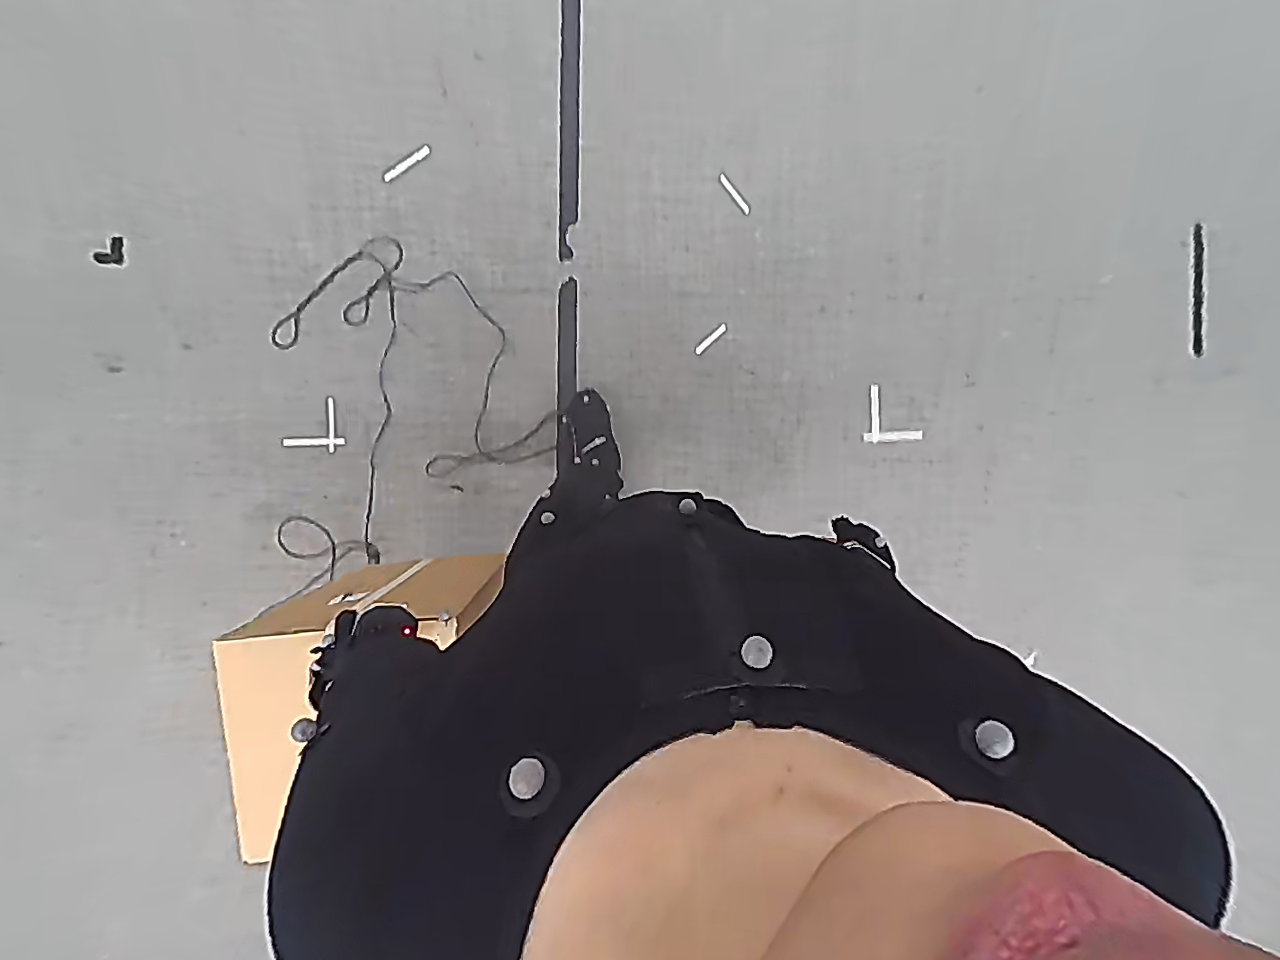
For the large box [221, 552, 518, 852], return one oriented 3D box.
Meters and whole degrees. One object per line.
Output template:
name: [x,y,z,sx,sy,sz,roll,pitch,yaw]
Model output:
large box: [-0.398,0.324,0.916,0.320,0.408,0.320,-5,95,-3]
